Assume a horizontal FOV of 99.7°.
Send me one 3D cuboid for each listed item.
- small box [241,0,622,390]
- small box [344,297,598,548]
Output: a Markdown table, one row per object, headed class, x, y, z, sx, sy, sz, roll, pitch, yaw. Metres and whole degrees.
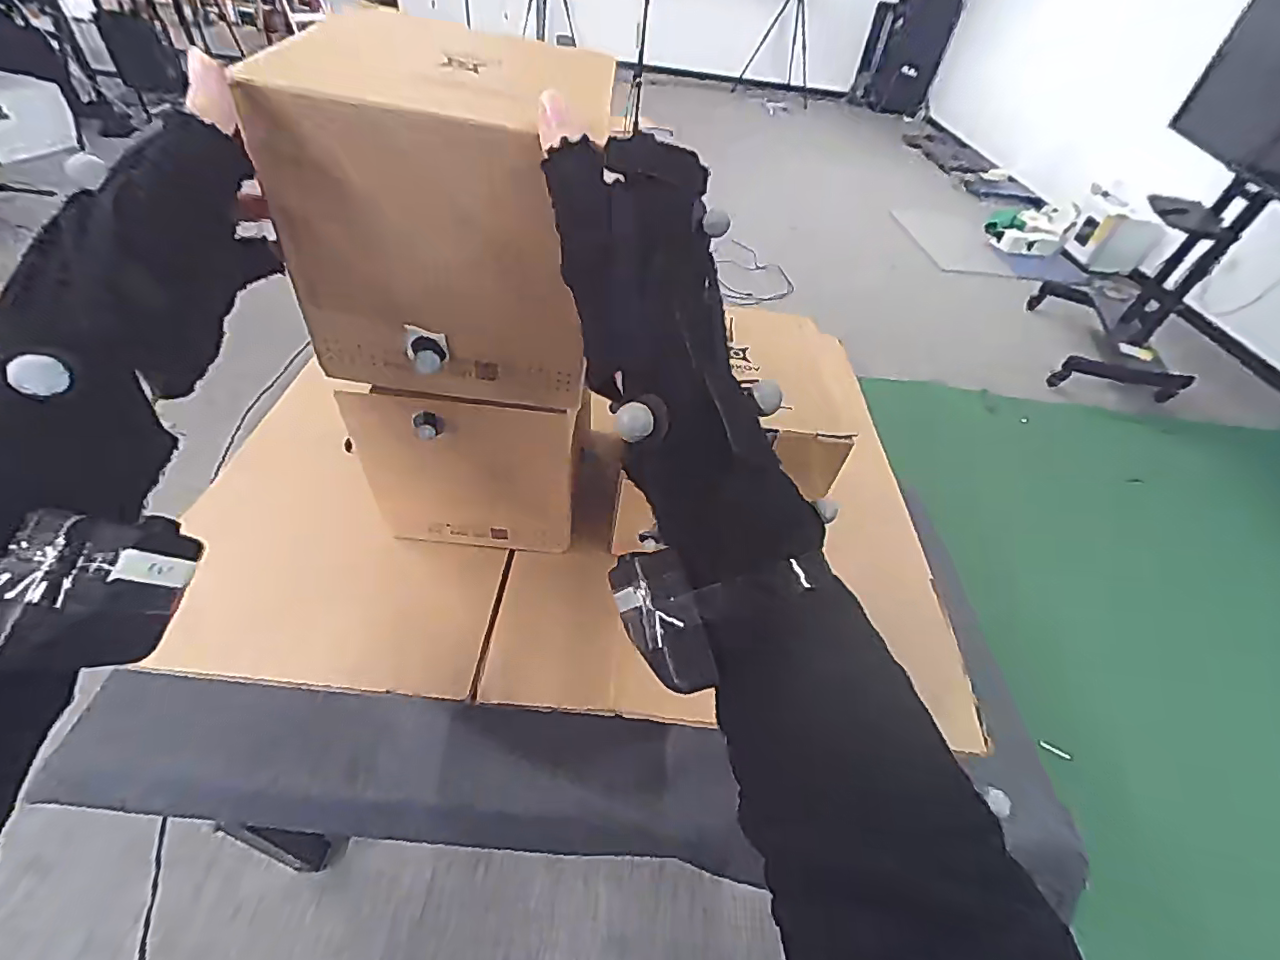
| class | x | y | z | sx | sy | sz | roll | pitch | yaw |
| --- | --- | --- | --- | --- | --- | --- | --- | --- | --- |
| small box | -0.108 | -0.186 | 0.356 | 0.168 | 0.176 | 0.179 | 7 | 48 | -7 |
| small box | -0.133 | -0.063 | 0.500 | 0.168 | 0.176 | 0.179 | 6 | 45 | -1 |
